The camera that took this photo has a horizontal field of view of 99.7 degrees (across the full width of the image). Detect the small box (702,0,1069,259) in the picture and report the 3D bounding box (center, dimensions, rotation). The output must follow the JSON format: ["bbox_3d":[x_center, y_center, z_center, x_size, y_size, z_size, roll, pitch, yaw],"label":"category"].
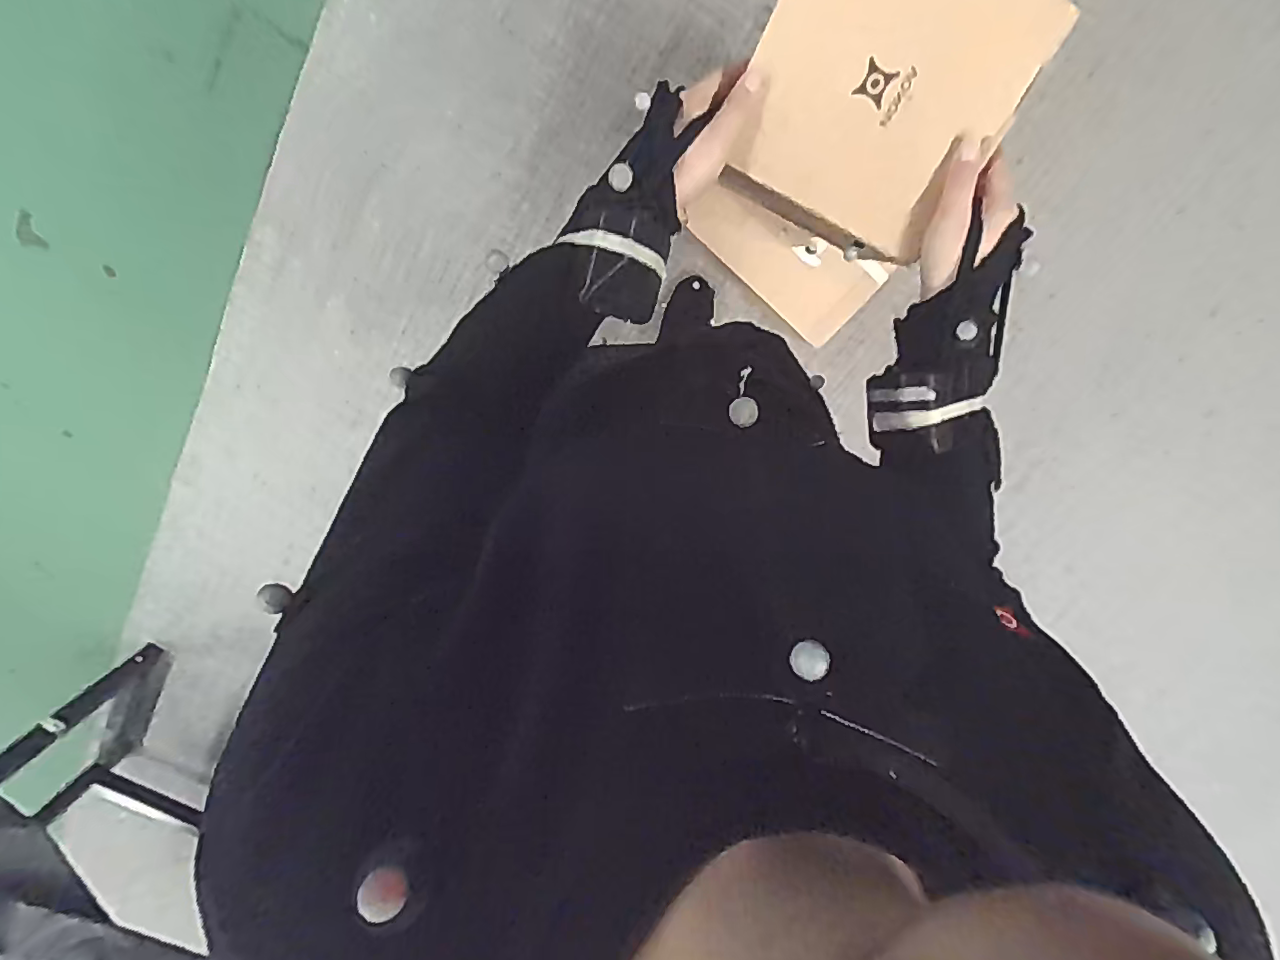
[{"bbox_3d":[0.163,-0.293,0.430,0.179,0.176,0.168,25,115,-4],"label":"small box"}]

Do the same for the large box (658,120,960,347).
[{"bbox_3d":[0.280,-0.517,1.026,0.408,0.320,0.320,38,110,-12],"label":"large box"}]
